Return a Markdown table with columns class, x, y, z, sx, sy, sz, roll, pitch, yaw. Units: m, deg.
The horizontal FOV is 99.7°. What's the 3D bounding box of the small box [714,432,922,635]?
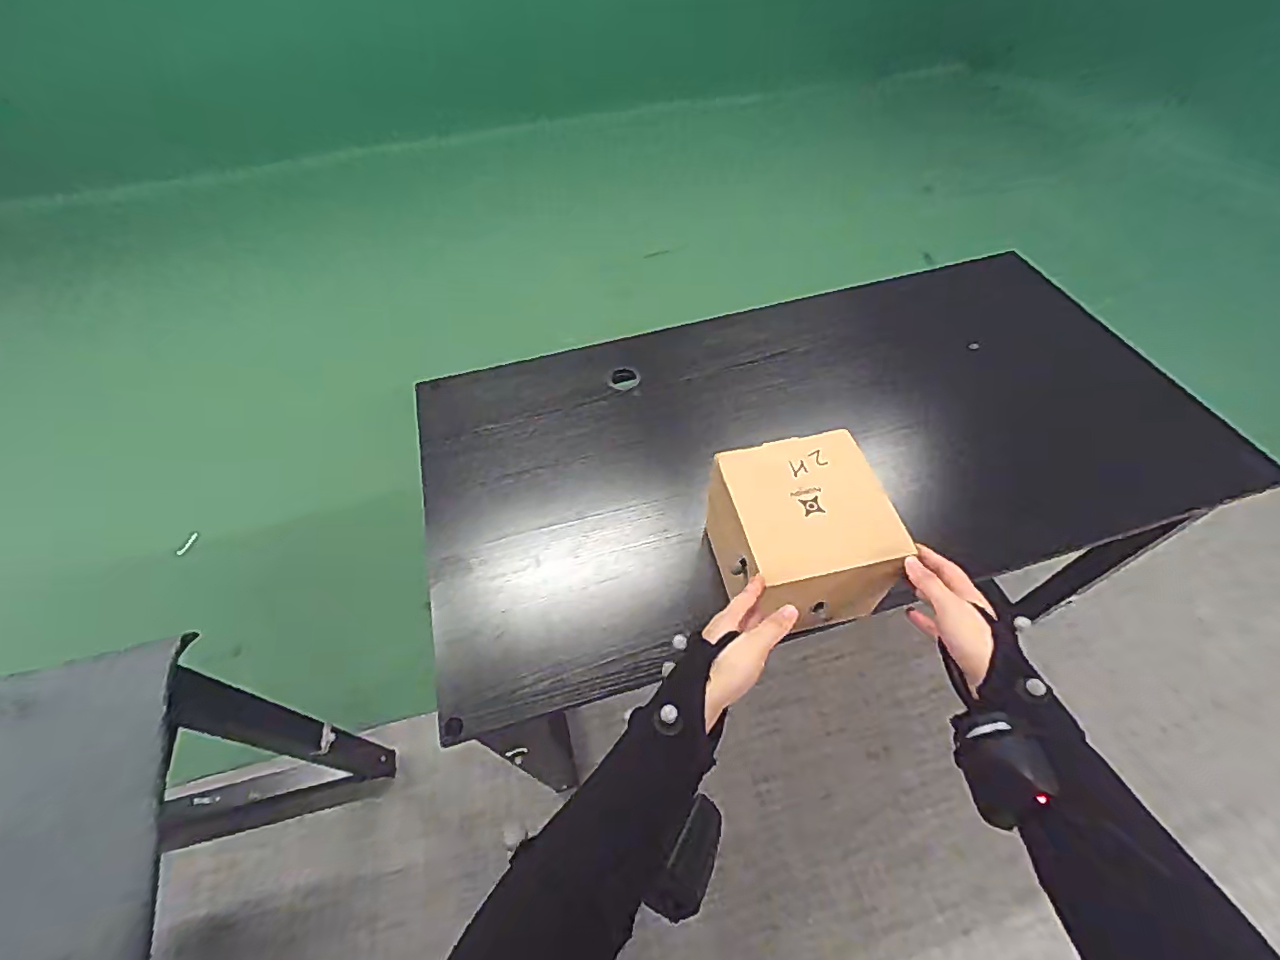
| class | x | y | z | sx | sy | sz | roll | pitch | yaw |
| --- | --- | --- | --- | --- | --- | --- | --- | --- | --- |
| small box | 0.193 | 0.072 | 0.648 | 0.168 | 0.176 | 0.179 | -11 | 55 | -5 |
